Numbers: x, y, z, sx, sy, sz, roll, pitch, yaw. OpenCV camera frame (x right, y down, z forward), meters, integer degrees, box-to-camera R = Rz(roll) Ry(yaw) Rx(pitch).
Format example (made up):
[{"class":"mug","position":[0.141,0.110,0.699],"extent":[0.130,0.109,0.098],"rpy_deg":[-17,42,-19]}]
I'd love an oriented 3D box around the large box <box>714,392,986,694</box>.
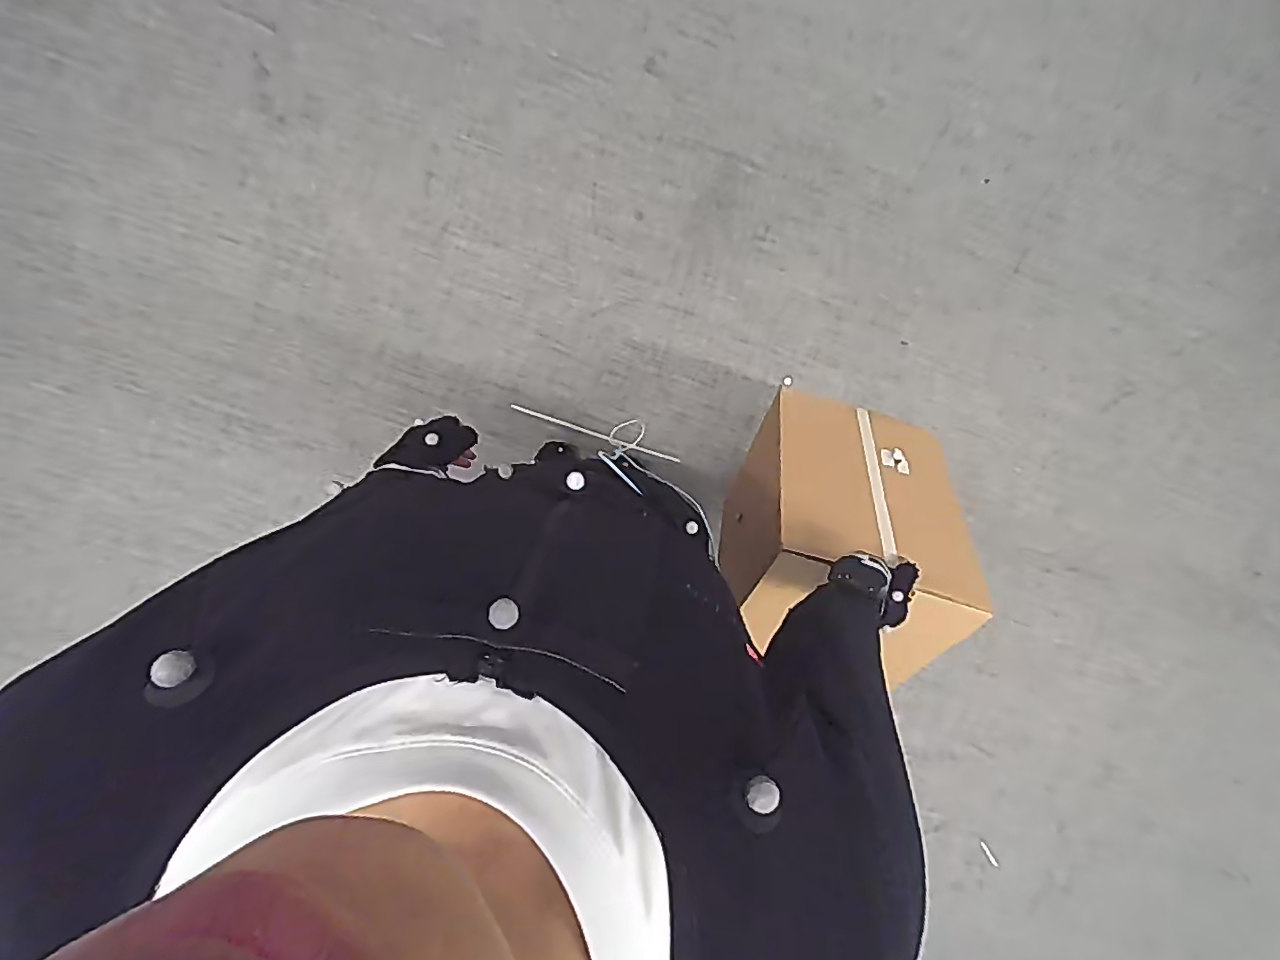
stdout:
[{"class":"large box","position":[0.337,0.110,0.990],"extent":[0.320,0.408,0.320],"rpy_deg":[18,134,-3]}]
